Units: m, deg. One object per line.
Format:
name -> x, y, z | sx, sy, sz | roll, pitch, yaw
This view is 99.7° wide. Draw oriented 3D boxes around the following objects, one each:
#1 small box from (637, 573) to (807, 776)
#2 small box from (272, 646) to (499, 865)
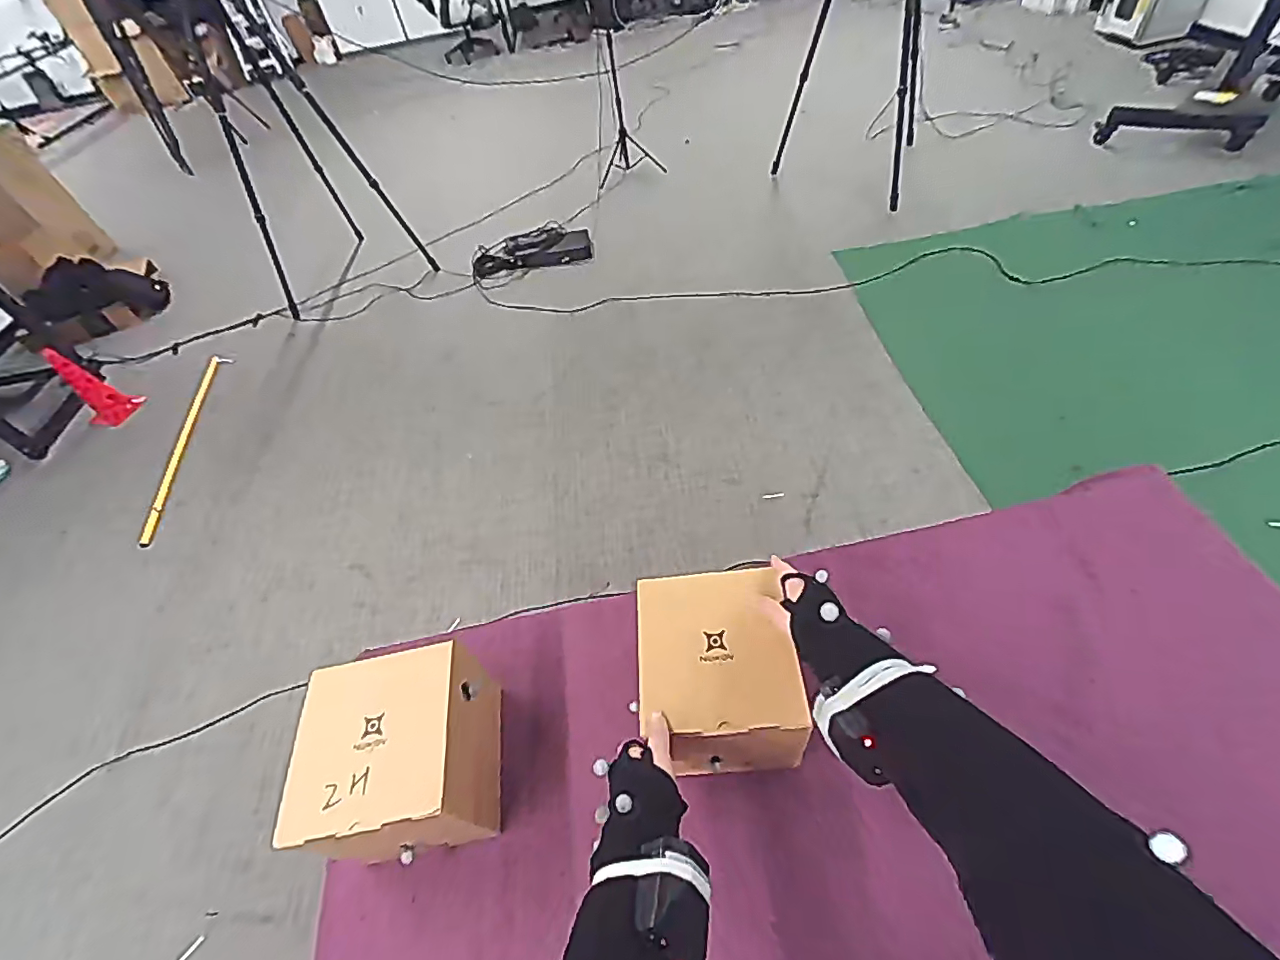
small box -> 0.087, 0.230, 0.634 | 0.168, 0.176, 0.179 | -6, 51, 5
small box -> -0.270, 0.319, 0.624 | 0.168, 0.176, 0.179 | -12, 50, 1
